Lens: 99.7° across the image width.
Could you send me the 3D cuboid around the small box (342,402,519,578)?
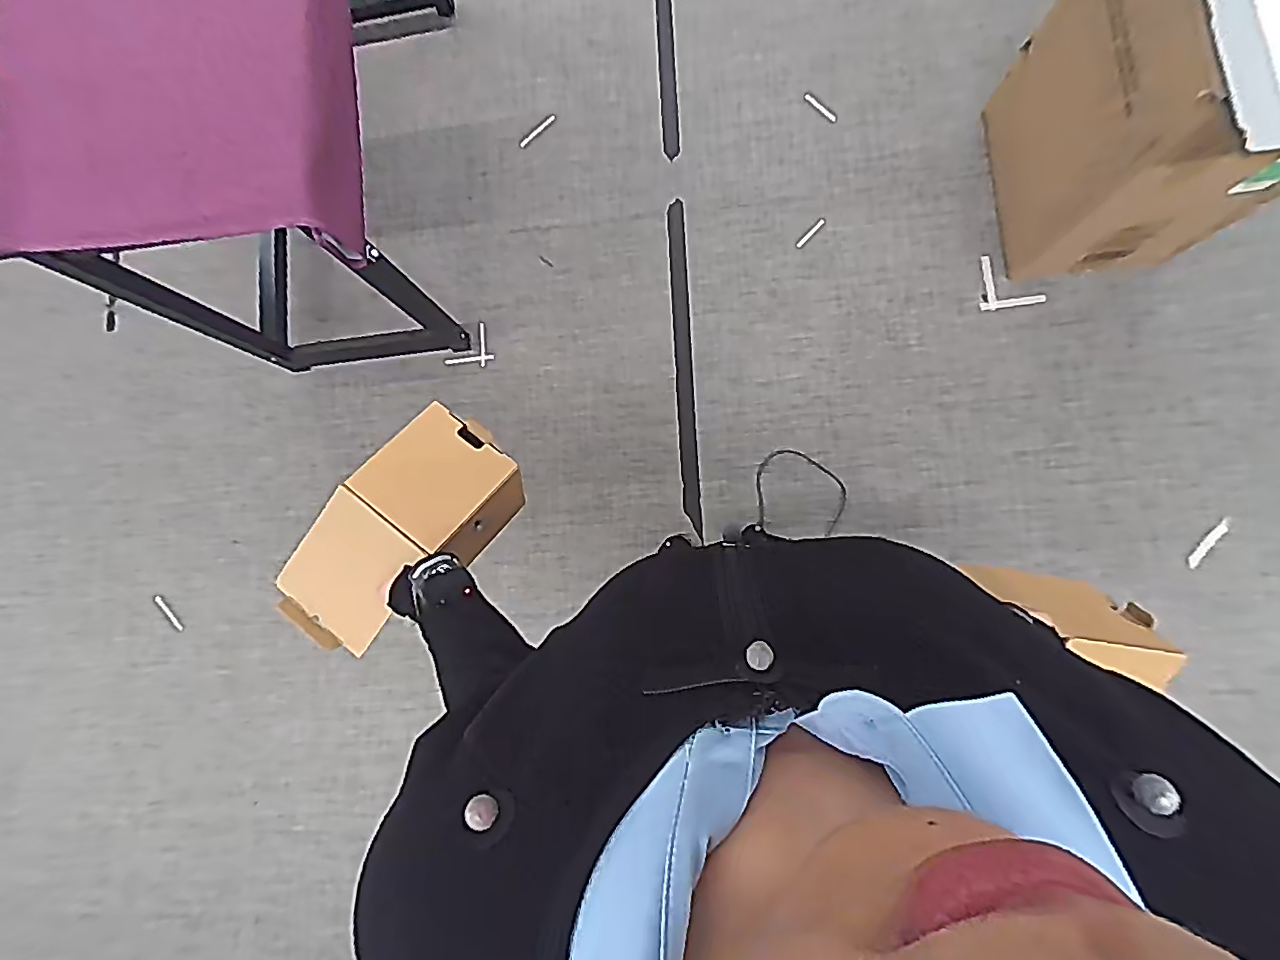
[{"bbox_3d":[-0.298,0.024,0.818,0.168,0.176,0.179,37,67,7],"label":"small box"}]
